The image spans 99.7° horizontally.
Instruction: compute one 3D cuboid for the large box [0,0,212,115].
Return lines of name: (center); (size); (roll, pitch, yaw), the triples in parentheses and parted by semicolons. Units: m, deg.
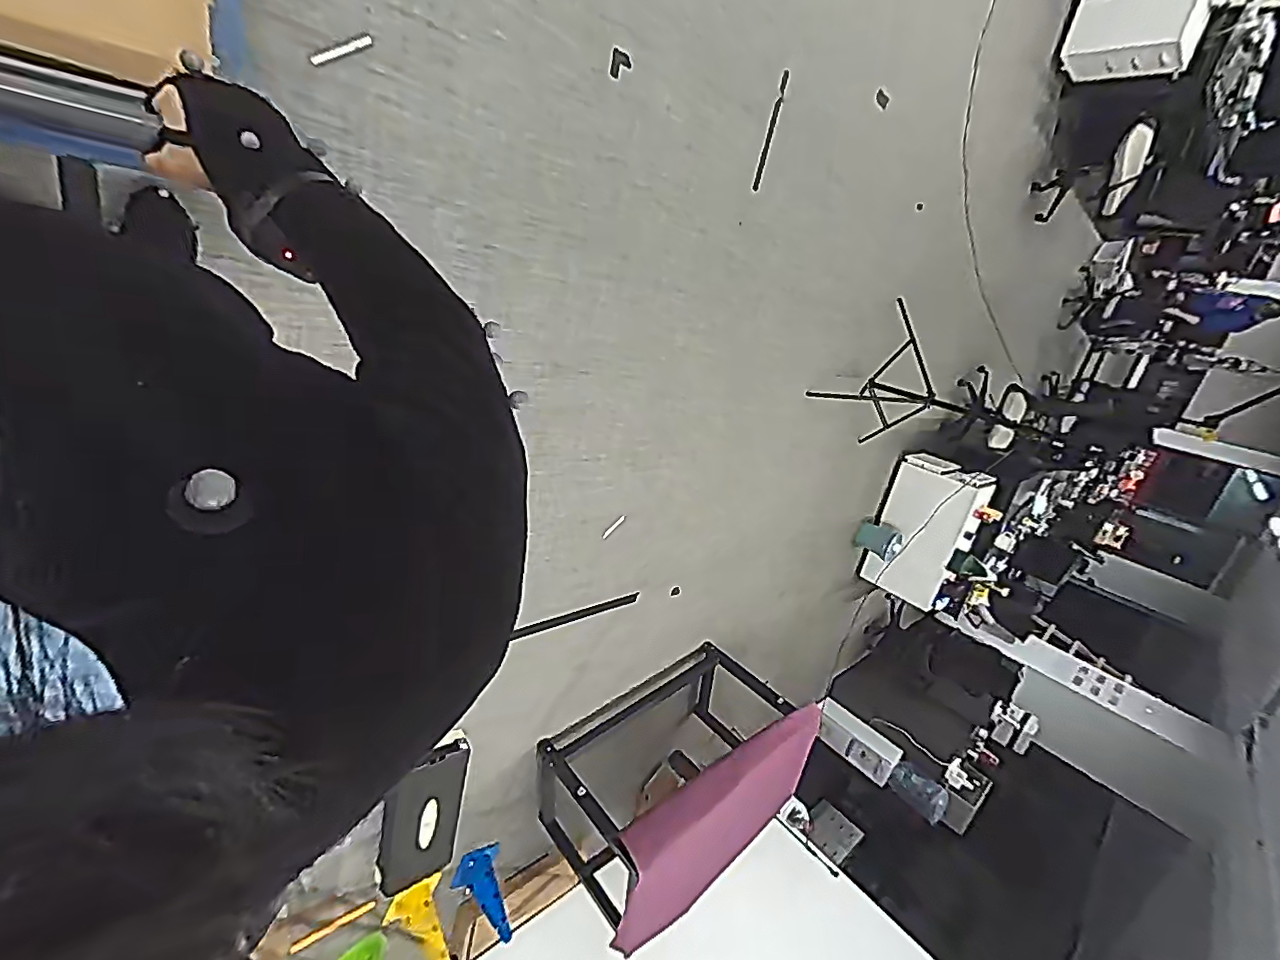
large box: (-0.793, -0.676, 0.633); (0.408, 0.320, 0.320); (-9, 119, -43)
